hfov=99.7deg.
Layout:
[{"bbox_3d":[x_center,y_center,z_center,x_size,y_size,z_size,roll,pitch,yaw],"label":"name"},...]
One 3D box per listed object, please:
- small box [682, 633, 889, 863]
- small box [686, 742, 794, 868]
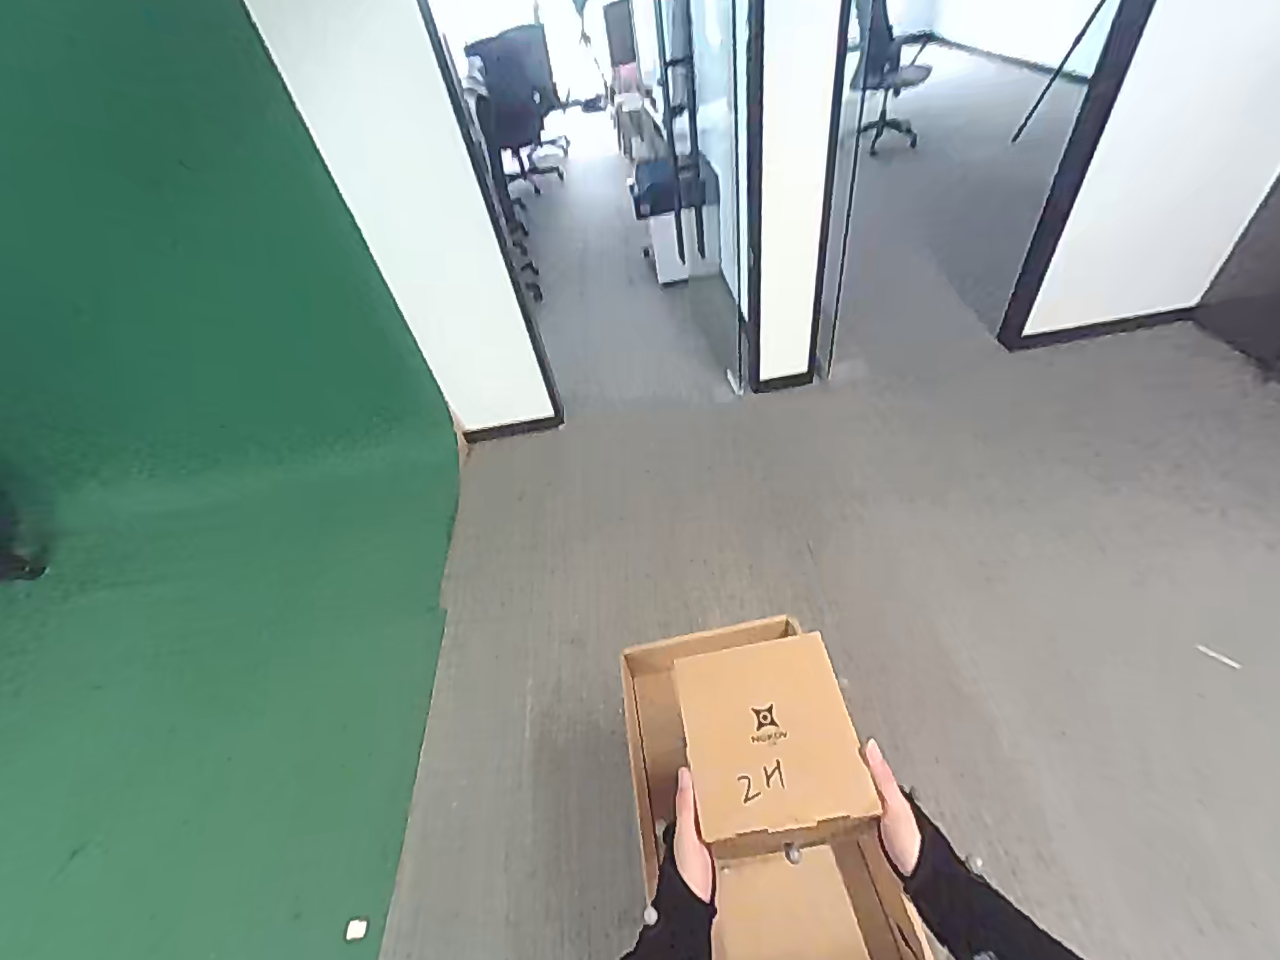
[{"bbox_3d":[0.146,0.295,0.593,0.168,0.176,0.179,-12,48,5],"label":"small box"},{"bbox_3d":[0.185,0.584,0.985,0.168,0.176,0.179,-11,44,1],"label":"small box"}]
